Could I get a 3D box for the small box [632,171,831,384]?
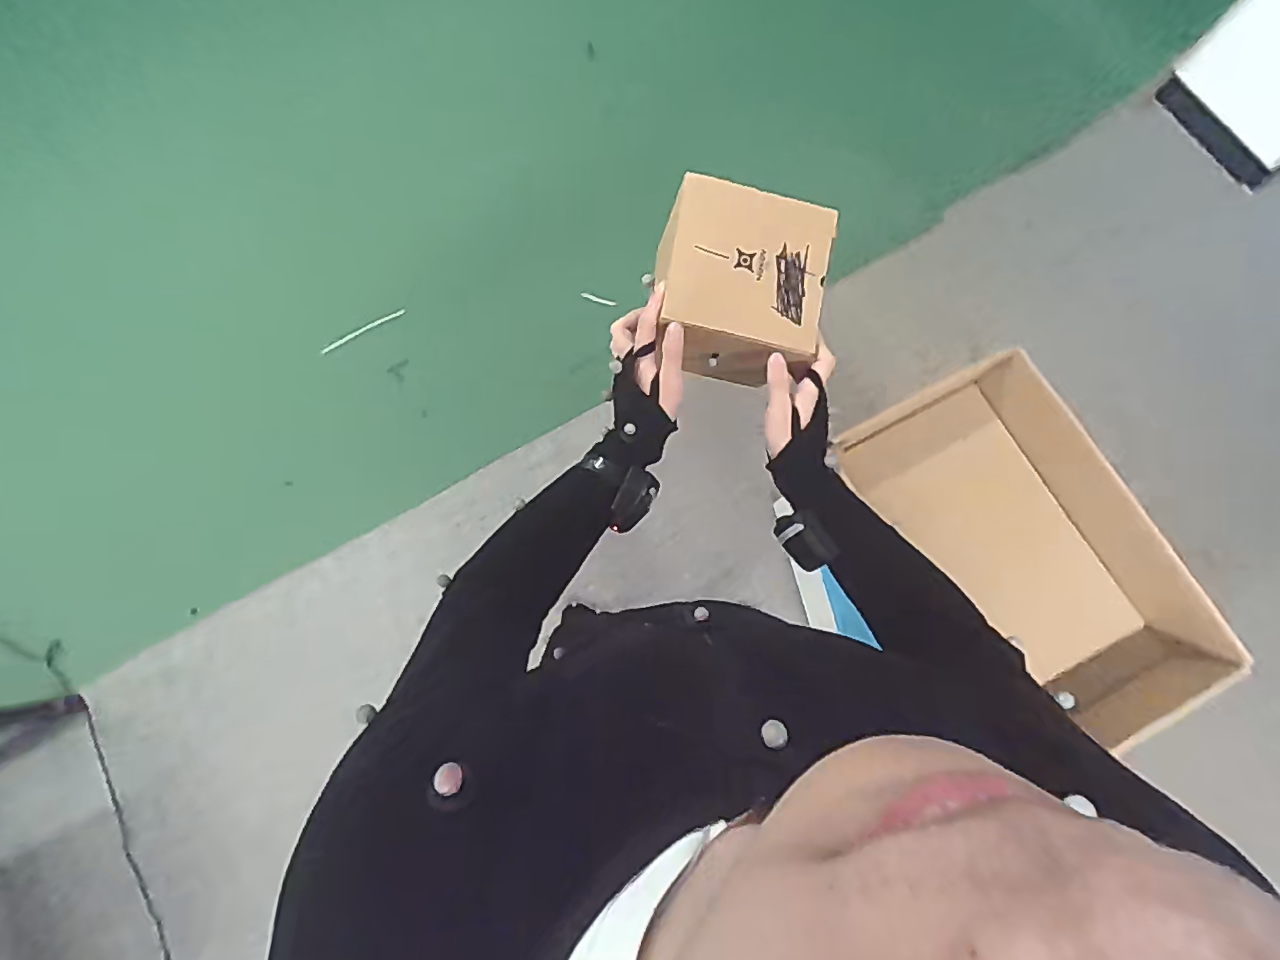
[{"bbox_3d":[0.097,-0.223,0.645,0.179,0.176,0.168,11,85,-7],"label":"small box"}]
